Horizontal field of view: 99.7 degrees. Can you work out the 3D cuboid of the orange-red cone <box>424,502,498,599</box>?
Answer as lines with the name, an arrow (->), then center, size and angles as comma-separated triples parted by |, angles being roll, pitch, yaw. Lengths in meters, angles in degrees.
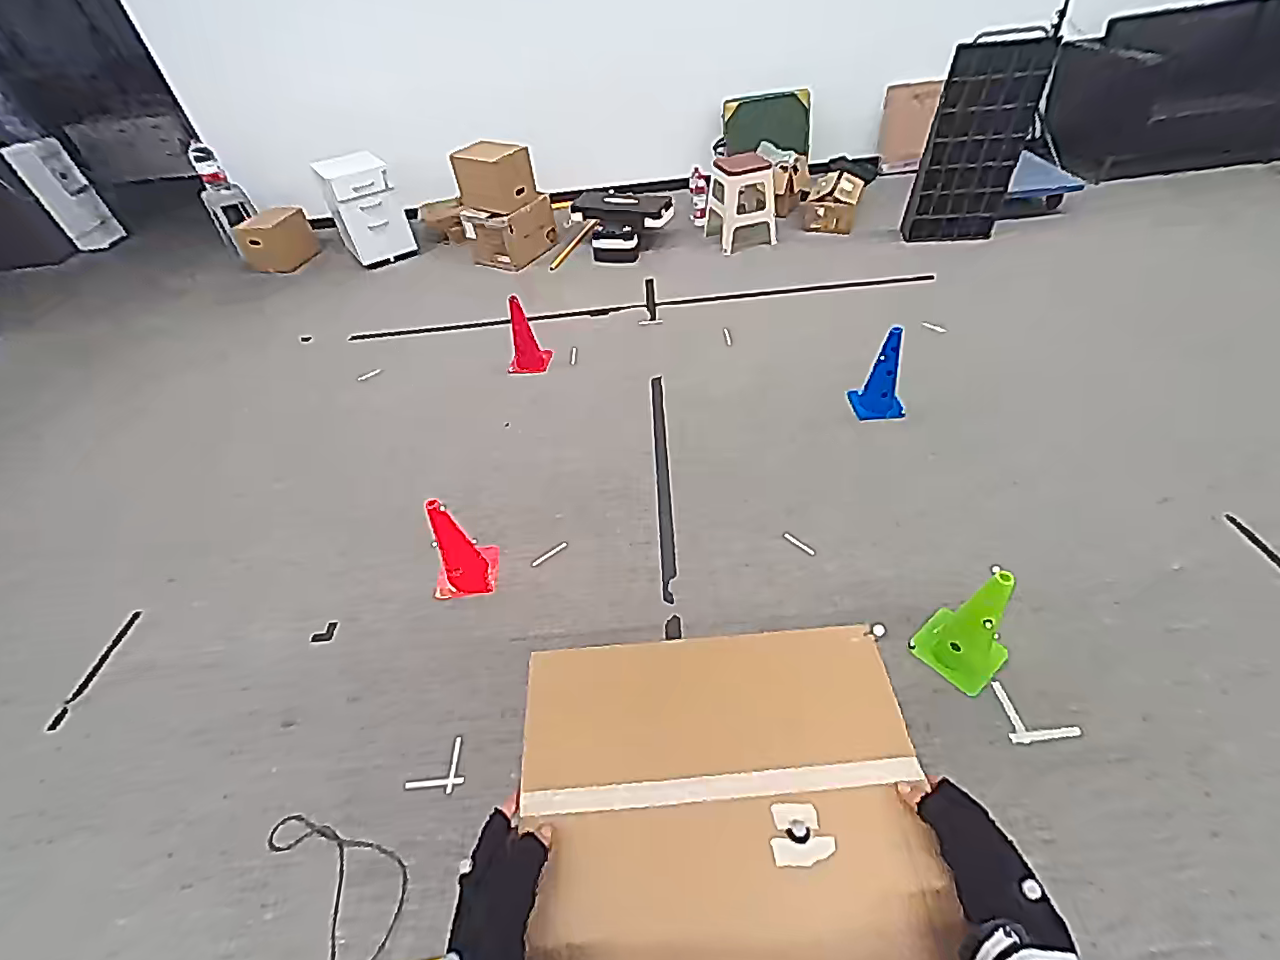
orange-red cone -> -0.610, 0.201, 1.746 | 0.198, 0.360, 0.199 | -7, 46, 1

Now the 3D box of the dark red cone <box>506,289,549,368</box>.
dark red cone -> -0.585, -0.740, 2.643 | 0.201, 0.394, 0.202 | 0, 46, 6

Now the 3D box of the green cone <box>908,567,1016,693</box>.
green cone -> 0.880, 0.352, 1.399 | 0.202, 0.368, 0.200 | -32, 51, -25

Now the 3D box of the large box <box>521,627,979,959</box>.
large box -> 0.088, 0.406, 0.664 | 0.408, 0.320, 0.320 | -5, 51, 0

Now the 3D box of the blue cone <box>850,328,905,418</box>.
blue cone -> 0.997, -0.442, 2.198 | 0.192, 0.380, 0.193 | -2, 45, 4
